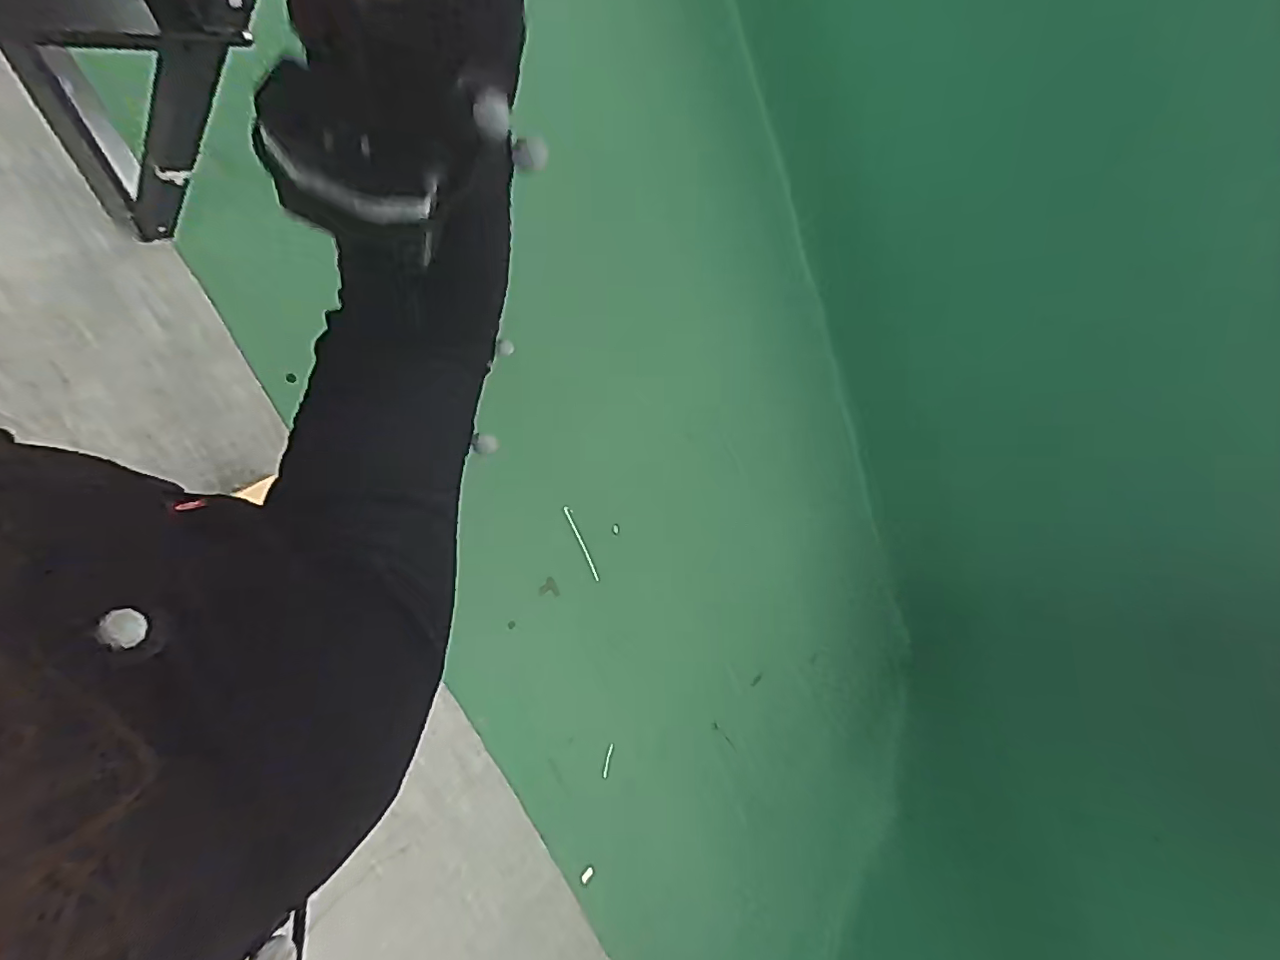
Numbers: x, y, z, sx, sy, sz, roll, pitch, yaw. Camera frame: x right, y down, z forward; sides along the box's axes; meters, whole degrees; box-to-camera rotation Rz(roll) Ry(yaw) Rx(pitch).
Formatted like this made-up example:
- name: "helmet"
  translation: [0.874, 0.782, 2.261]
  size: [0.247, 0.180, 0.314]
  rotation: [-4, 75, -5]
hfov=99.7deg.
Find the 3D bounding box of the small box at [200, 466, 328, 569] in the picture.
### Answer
- name: "small box"
  translation: [-0.854, 0.085, 1.223]
  size: [0.179, 0.176, 0.168]
  rotation: [-40, 115, -40]
